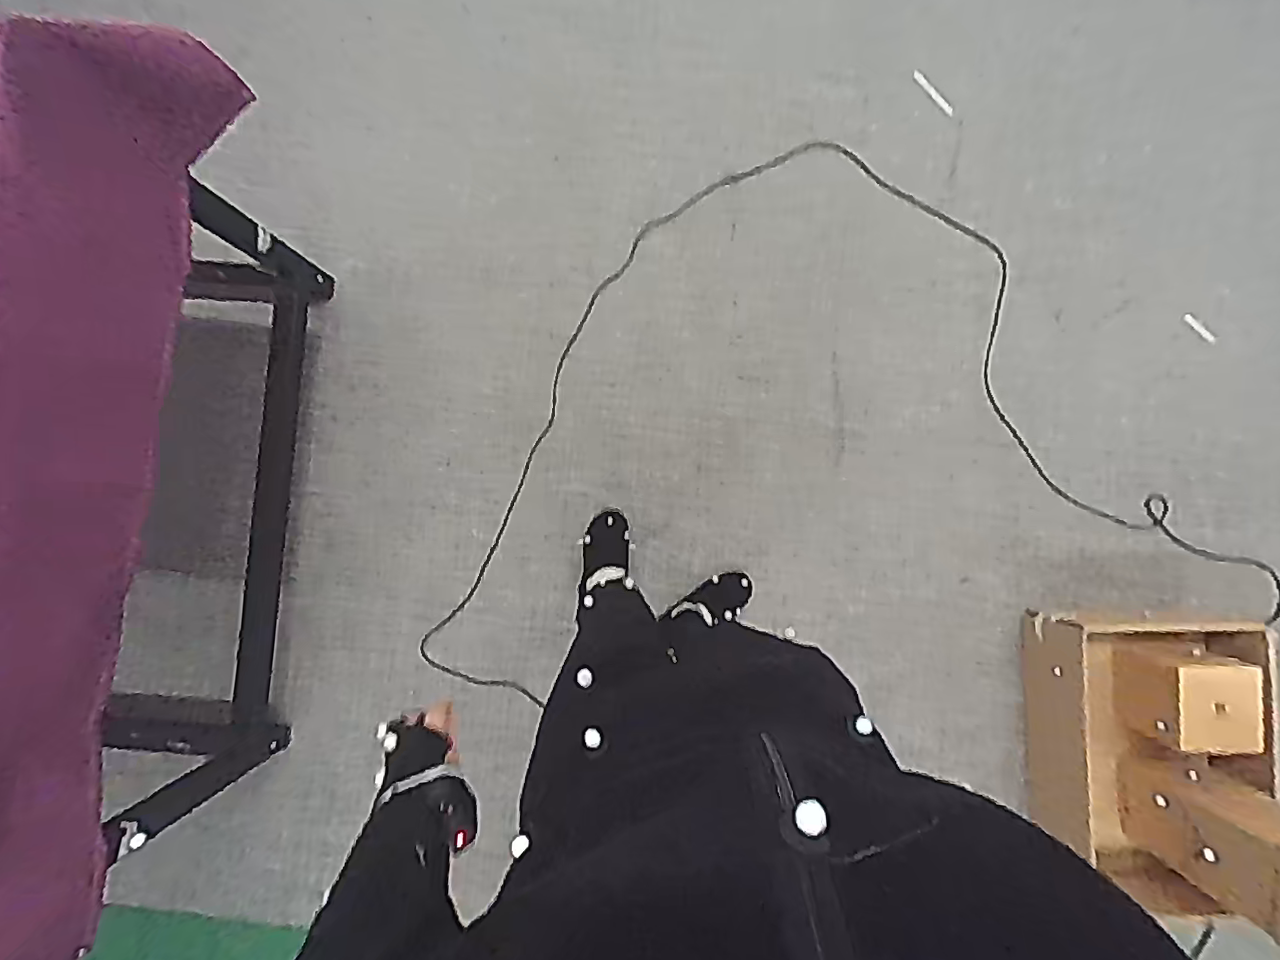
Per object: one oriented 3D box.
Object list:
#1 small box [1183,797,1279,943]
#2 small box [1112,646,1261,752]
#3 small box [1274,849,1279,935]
[{"bbox_3d":[1.188,0.723,1.013,0.179,0.176,0.168,1,88,2],"label":"small box"},{"bbox_3d":[1.183,0.470,1.184,0.168,0.176,0.179,0,90,2],"label":"small box"},{"bbox_3d":[1.171,0.716,0.848,0.168,0.176,0.179,5,88,1],"label":"small box"}]
